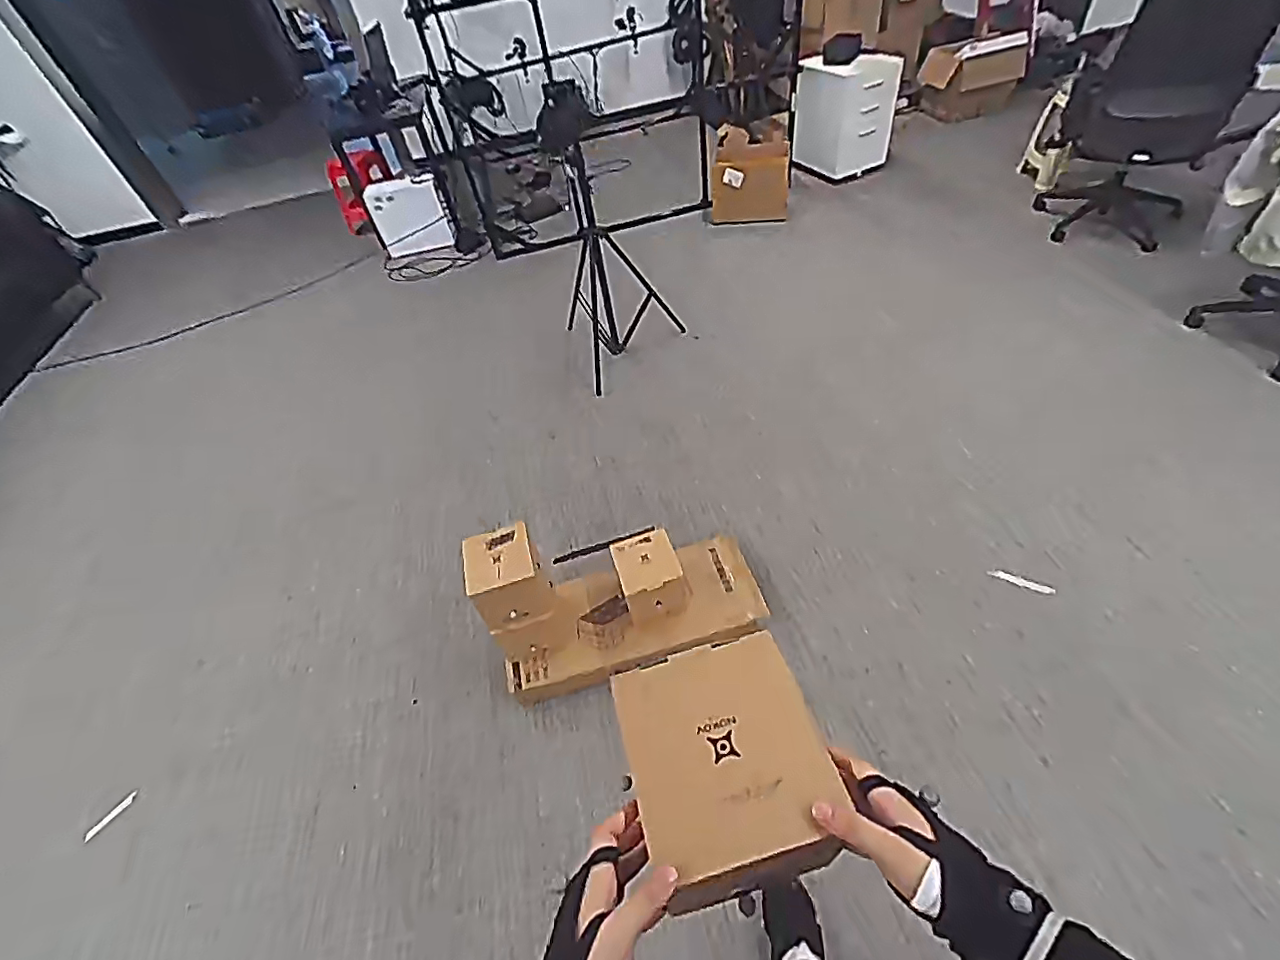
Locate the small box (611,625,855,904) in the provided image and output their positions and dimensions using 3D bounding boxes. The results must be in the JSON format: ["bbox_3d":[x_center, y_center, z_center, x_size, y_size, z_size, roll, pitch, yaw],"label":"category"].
[{"bbox_3d":[0.077,0.276,0.527,0.168,0.176,0.179,-15,47,-6],"label":"small box"}]

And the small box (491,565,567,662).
[{"bbox_3d":[-0.310,0.370,1.493,0.168,0.176,0.179,-16,47,-4],"label":"small box"}]

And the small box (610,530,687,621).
[{"bbox_3d":[0.026,0.277,1.521,0.168,0.176,0.179,-18,48,-4],"label":"small box"}]

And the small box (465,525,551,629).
[{"bbox_3d":[-0.337,0.249,1.385,0.168,0.176,0.179,-17,47,-6],"label":"small box"}]
